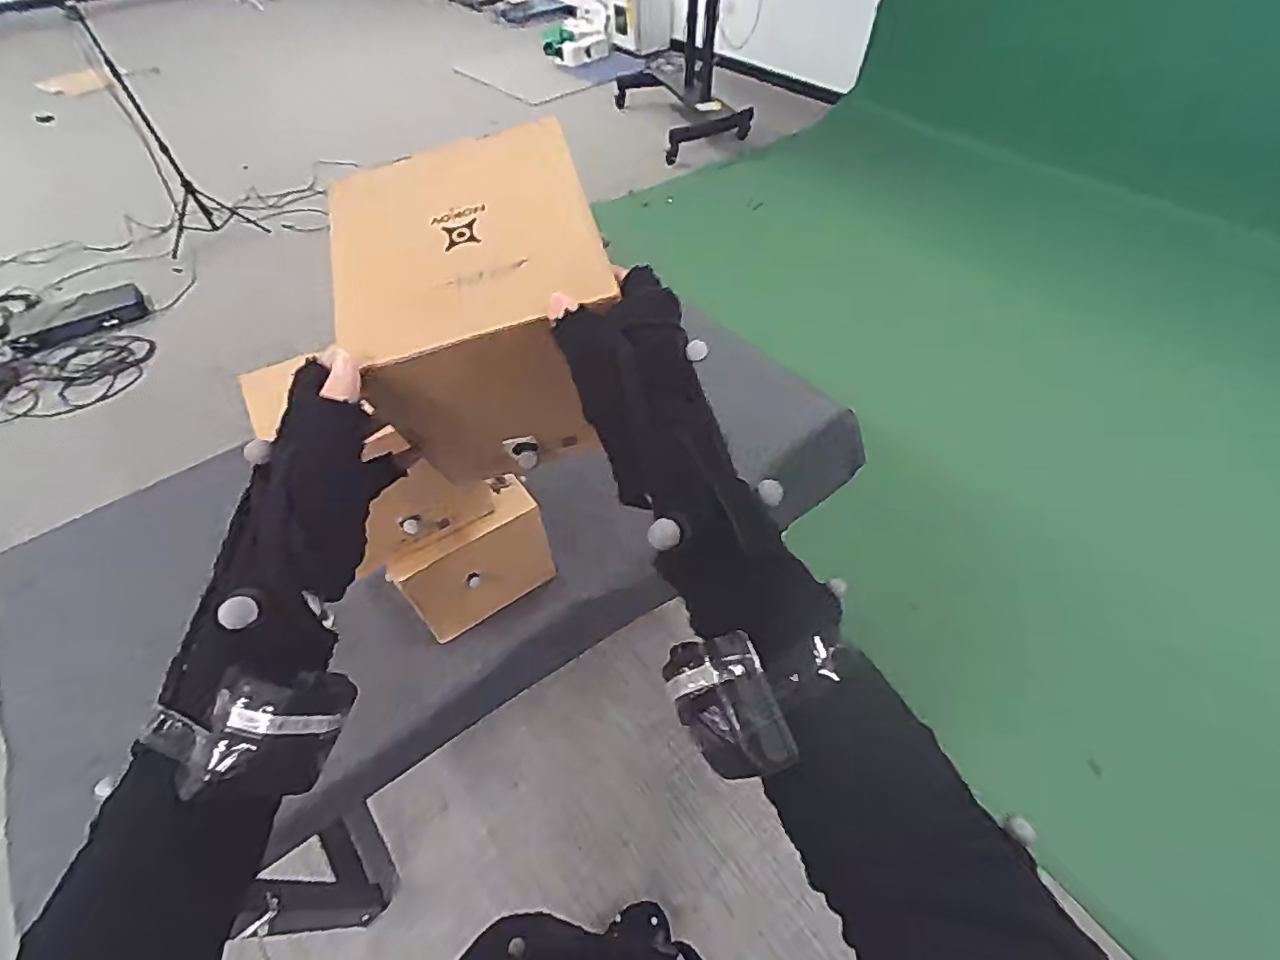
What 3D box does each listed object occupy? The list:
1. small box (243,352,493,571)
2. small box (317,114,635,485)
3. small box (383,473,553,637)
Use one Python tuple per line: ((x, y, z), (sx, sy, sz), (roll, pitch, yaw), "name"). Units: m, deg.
((-0.287, -0.035, 0.592), (0.168, 0.176, 0.179), (-31, 54, -20), "small box")
((-0.110, -0.122, 0.407), (0.168, 0.176, 0.179), (-18, 66, 0), "small box")
((-0.237, 0.074, 0.713), (0.179, 0.176, 0.168), (-31, 56, -20), "small box")
